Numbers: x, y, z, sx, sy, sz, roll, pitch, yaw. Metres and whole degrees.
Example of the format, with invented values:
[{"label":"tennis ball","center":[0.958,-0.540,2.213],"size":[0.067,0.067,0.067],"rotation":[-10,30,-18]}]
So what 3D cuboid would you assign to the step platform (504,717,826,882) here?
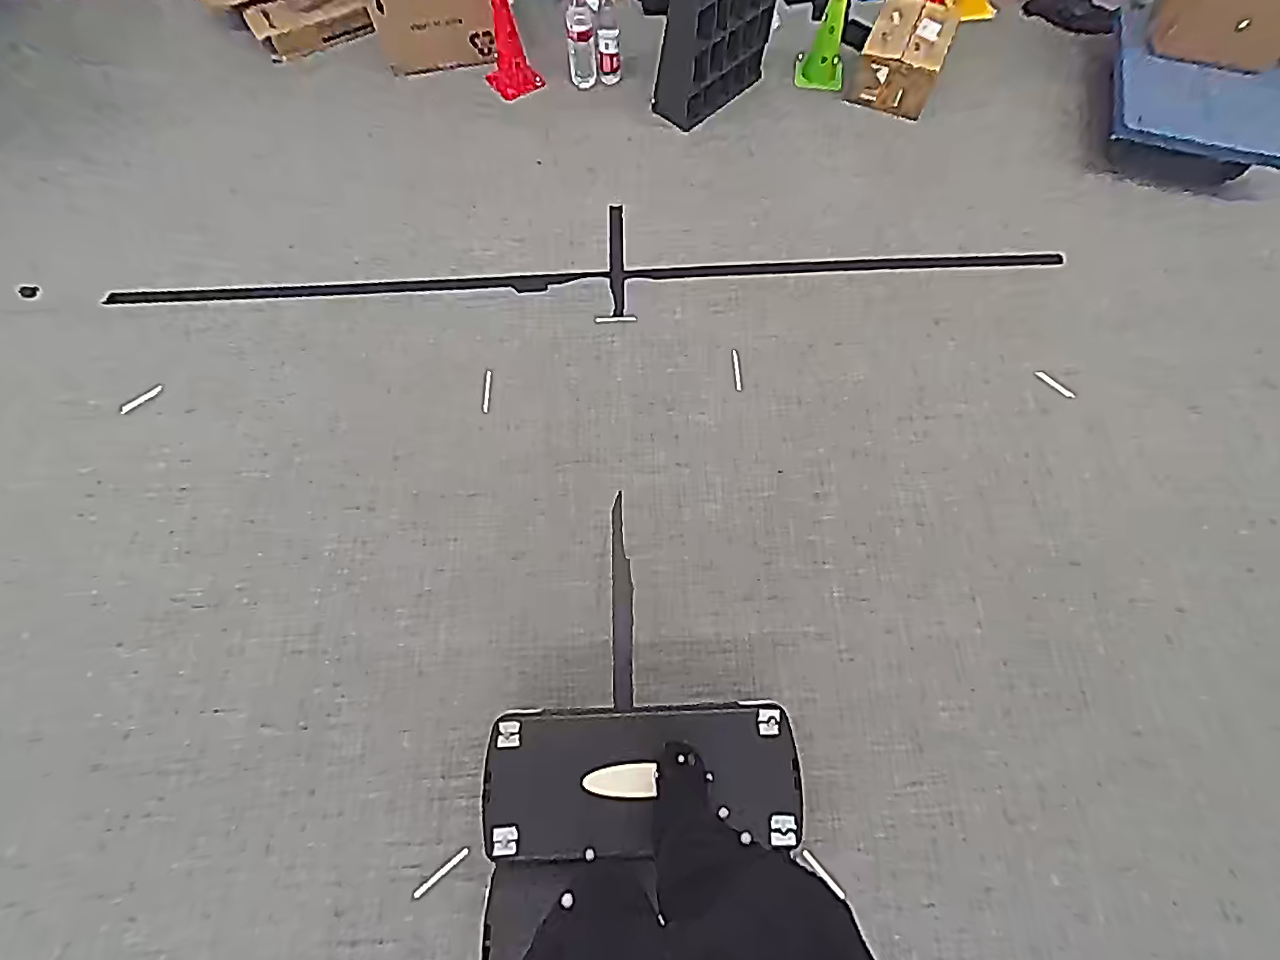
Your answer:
[{"label":"step platform","center":[0.052,0.691,1.195],"size":[0.684,0.204,0.286],"rotation":[2,66,0]}]
